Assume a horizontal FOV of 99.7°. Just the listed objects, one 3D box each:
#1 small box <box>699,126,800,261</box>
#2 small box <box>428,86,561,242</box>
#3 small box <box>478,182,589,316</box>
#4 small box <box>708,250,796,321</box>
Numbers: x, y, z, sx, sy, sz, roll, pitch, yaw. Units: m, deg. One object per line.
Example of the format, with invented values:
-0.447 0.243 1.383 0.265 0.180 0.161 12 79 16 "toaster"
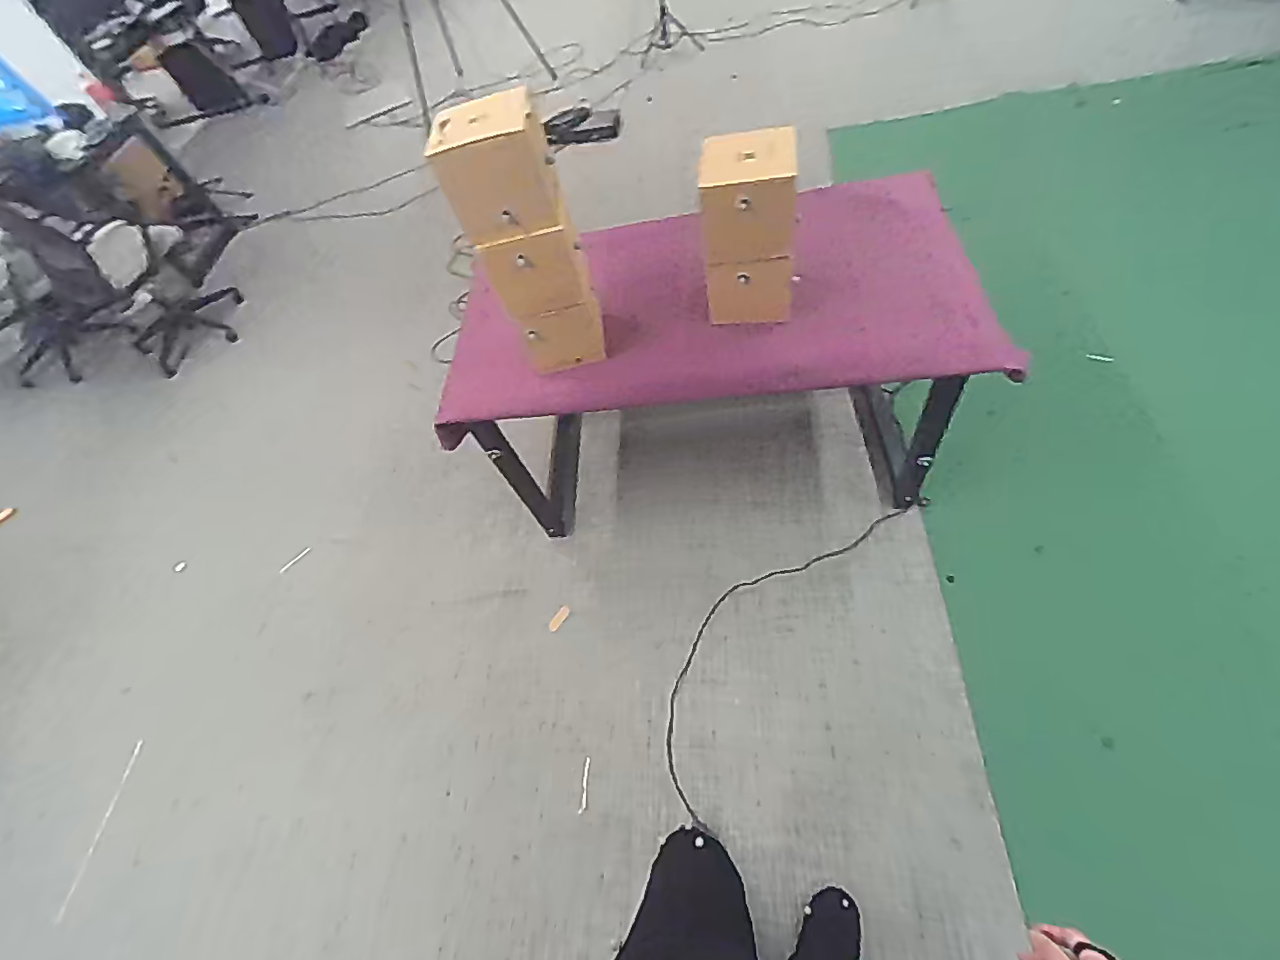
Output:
0.218 -0.548 1.052 0.179 0.176 0.168 1 60 14 "small box"
-0.247 -0.561 0.970 0.179 0.176 0.168 -9 55 7 "small box"
-0.205 -0.462 1.095 0.179 0.176 0.168 -11 56 7 "small box"
0.251 -0.466 1.189 0.179 0.176 0.168 2 59 14 "small box"
